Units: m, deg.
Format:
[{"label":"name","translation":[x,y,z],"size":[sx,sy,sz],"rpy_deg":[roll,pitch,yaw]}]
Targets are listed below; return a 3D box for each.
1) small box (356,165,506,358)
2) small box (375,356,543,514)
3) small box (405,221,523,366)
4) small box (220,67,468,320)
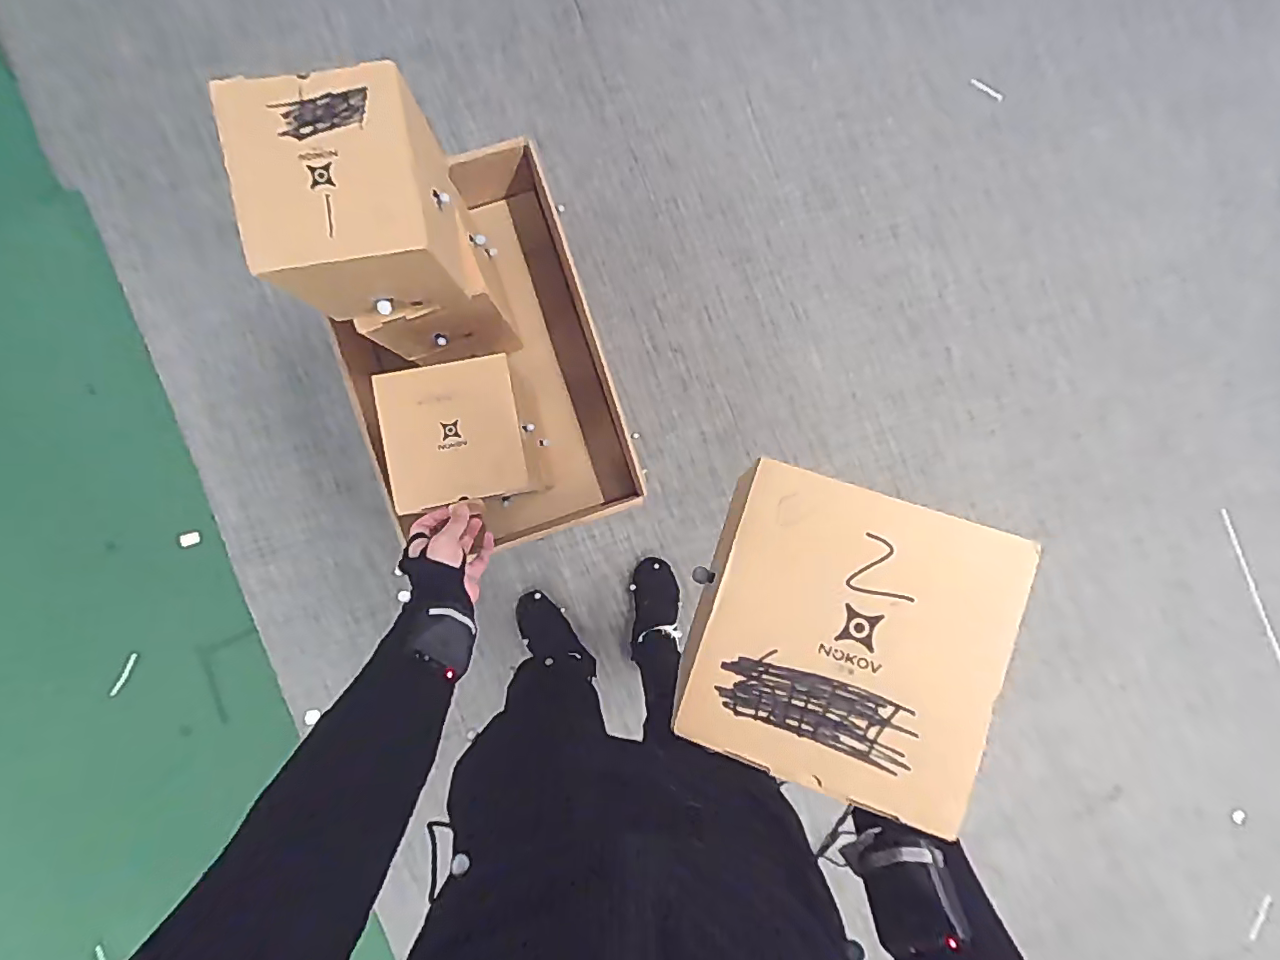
[{"label":"small box","translation":[-0.301,-0.290,0.748],"size":[0.168,0.176,0.179],"rpy_deg":[-20,92,-3]},{"label":"small box","translation":[-0.235,-0.055,0.744],"size":[0.168,0.176,0.179],"rpy_deg":[-10,88,-4]},{"label":"small box","translation":[-0.311,-0.294,0.909],"size":[0.168,0.176,0.179],"rpy_deg":[-19,92,-2]},{"label":"small box","translation":[-0.298,-0.291,0.583],"size":[0.168,0.176,0.179],"rpy_deg":[-10,92,-3]}]
